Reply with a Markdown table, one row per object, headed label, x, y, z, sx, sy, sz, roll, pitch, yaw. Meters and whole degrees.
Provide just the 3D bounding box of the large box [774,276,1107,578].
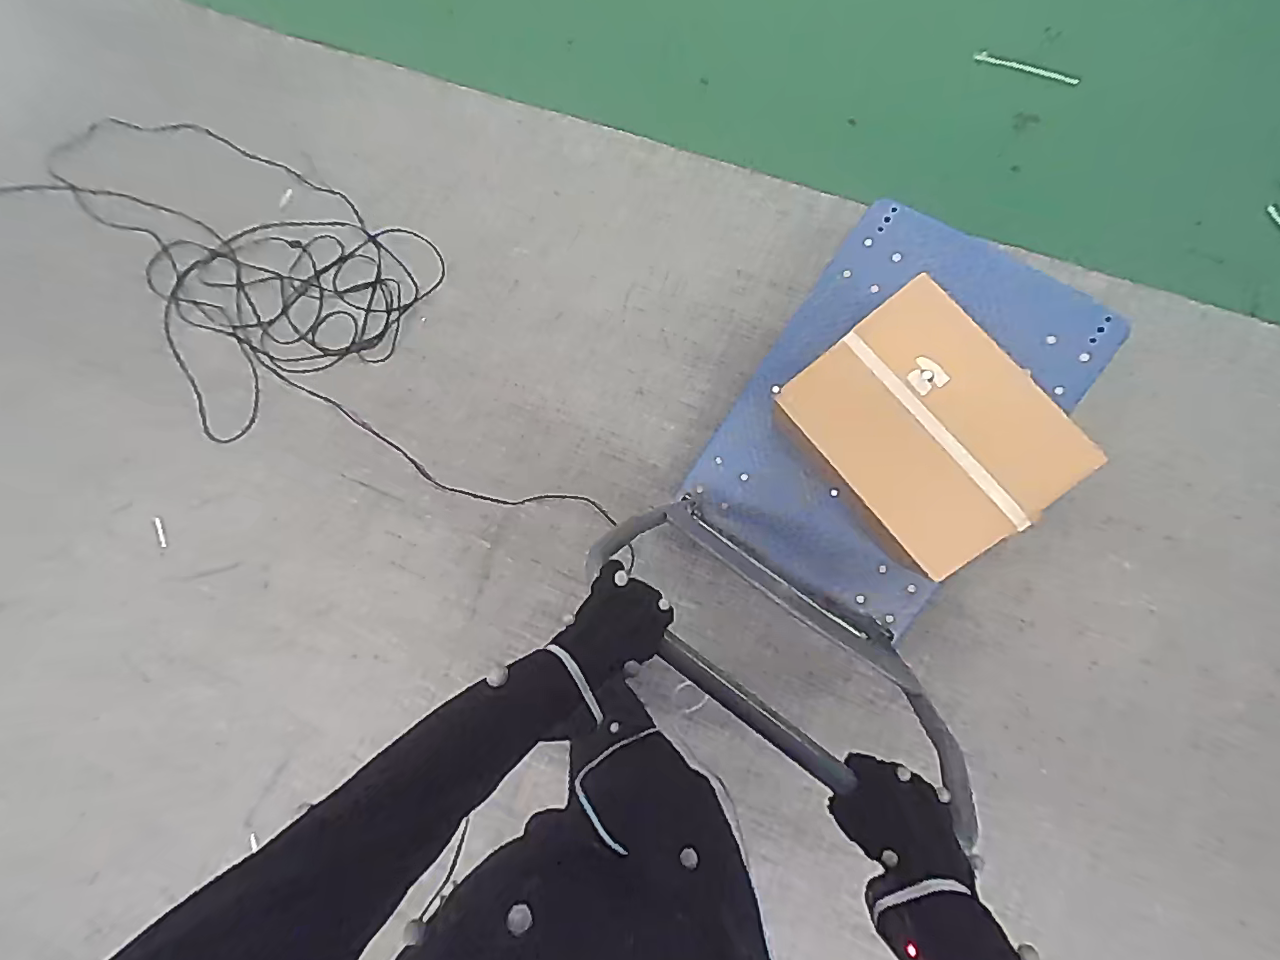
| label | x | y | z | sx | sy | sz | roll | pitch | yaw |
| --- | --- | --- | --- | --- | --- | --- | --- | --- | --- |
| large box | 0.504 | -0.082 | 1.010 | 0.320 | 0.320 | 0.408 | -40 | 79 | 9 |
